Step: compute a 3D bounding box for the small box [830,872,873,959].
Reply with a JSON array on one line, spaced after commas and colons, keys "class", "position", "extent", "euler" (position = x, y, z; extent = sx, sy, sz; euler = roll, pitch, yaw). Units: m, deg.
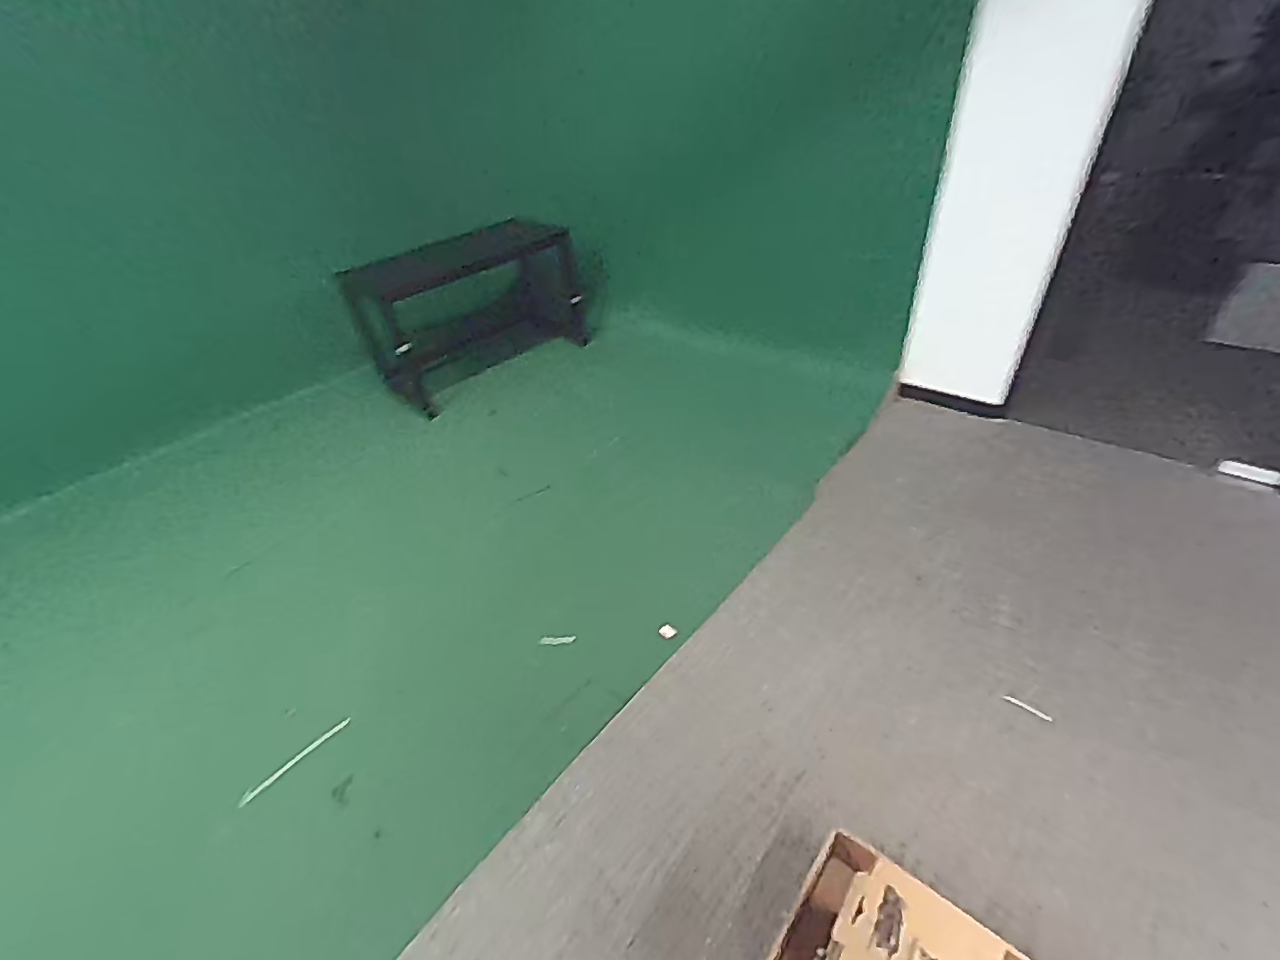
[{"class": "small box", "position": [0.428, 0.817, 0.905], "extent": [0.179, 0.176, 0.168], "euler": [24, 52, 32]}]

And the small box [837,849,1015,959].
[{"class": "small box", "position": [0.407, 0.698, 0.794], "extent": [0.179, 0.176, 0.168], "euler": [24, 52, 32]}]
